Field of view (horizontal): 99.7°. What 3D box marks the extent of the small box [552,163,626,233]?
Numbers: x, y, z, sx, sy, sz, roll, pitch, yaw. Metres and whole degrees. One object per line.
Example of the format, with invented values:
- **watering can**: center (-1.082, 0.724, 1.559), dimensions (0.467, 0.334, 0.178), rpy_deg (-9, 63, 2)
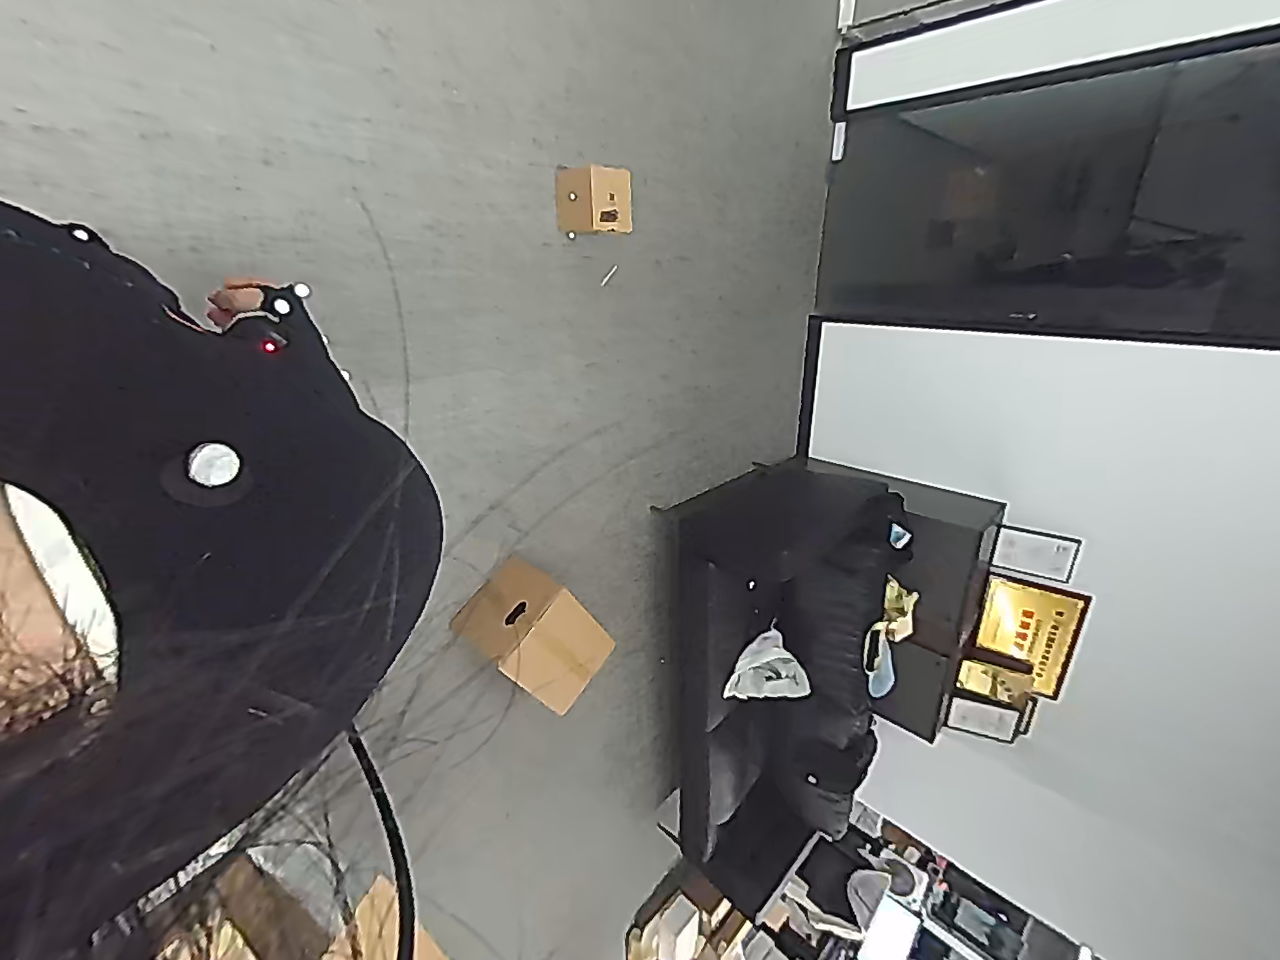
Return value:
- **small box**: center (-0.161, -0.878, 1.697), dimensions (0.168, 0.176, 0.179), rpy_deg (-20, 119, -42)
